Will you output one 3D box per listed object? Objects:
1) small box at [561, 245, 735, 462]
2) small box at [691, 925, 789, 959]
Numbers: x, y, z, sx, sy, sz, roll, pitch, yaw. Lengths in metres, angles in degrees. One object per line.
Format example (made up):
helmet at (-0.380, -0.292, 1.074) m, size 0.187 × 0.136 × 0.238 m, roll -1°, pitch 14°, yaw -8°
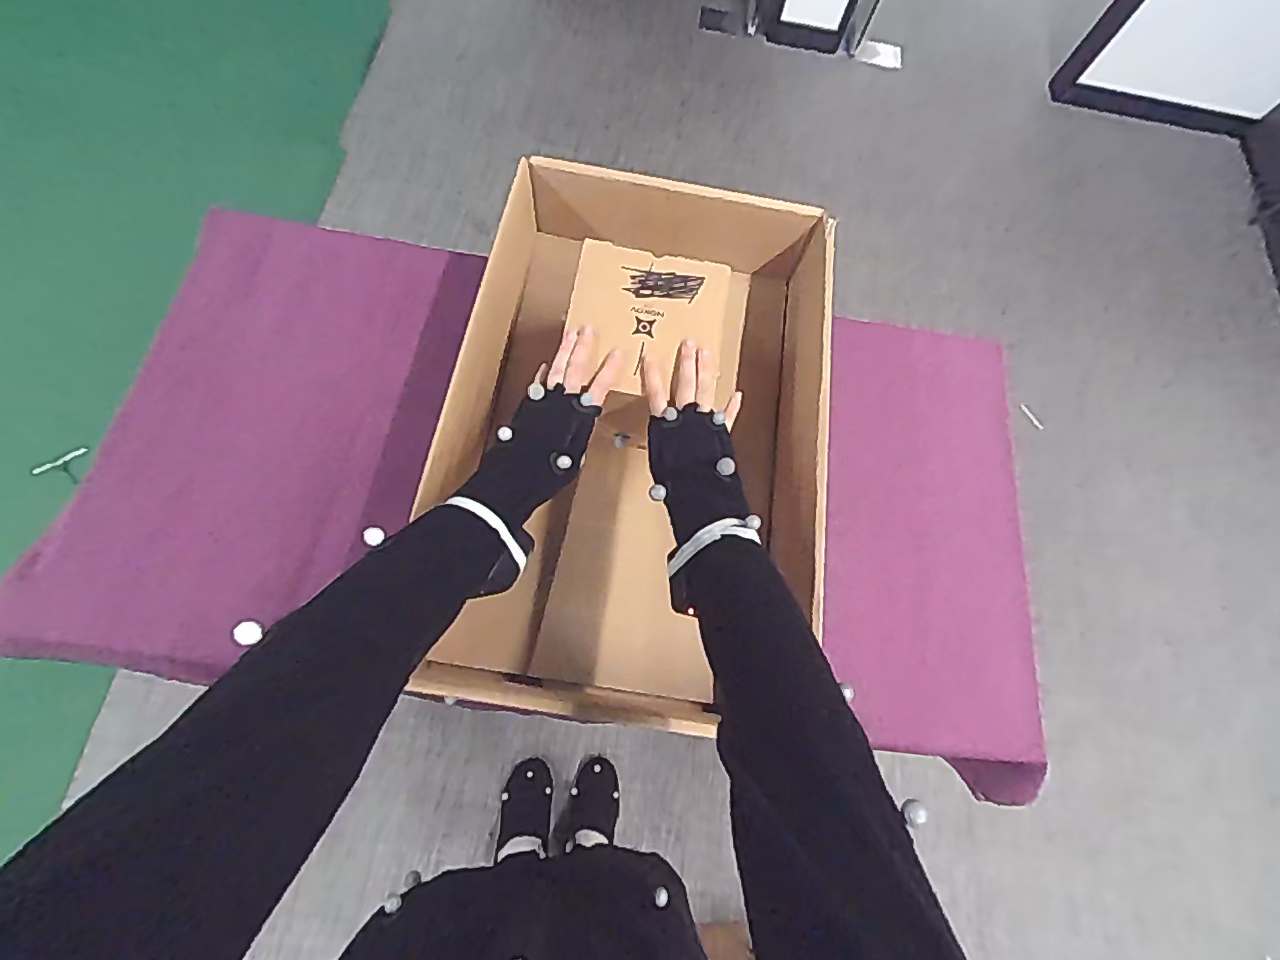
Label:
small box at (0.005, -0.139, 0.644) m, size 0.168 × 0.176 × 0.179 m, roll 10°, pitch 74°, yaw -2°
small box at (0.199, 1.035, 1.092) m, size 0.179 × 0.176 × 0.168 m, roll 4°, pitch 70°, yaw -5°
